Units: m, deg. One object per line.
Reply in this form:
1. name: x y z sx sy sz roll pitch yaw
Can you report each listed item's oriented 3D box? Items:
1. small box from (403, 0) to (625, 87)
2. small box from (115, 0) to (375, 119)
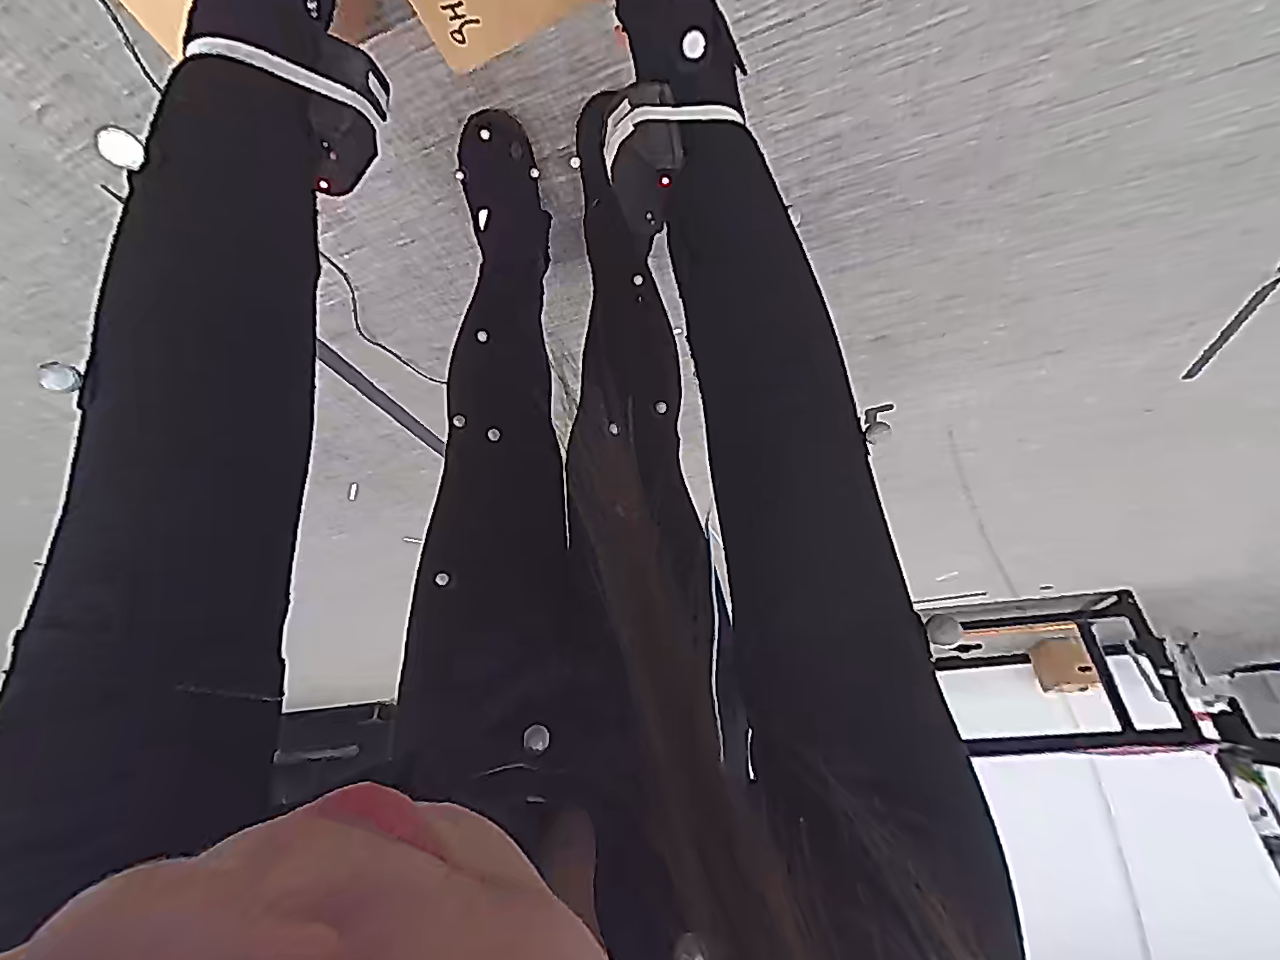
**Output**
1. small box: -0.099 -0.433 0.372 0.179 0.176 0.168 -14 149 18
2. small box: -0.402 -0.517 0.540 0.168 0.176 0.179 -10 150 14
